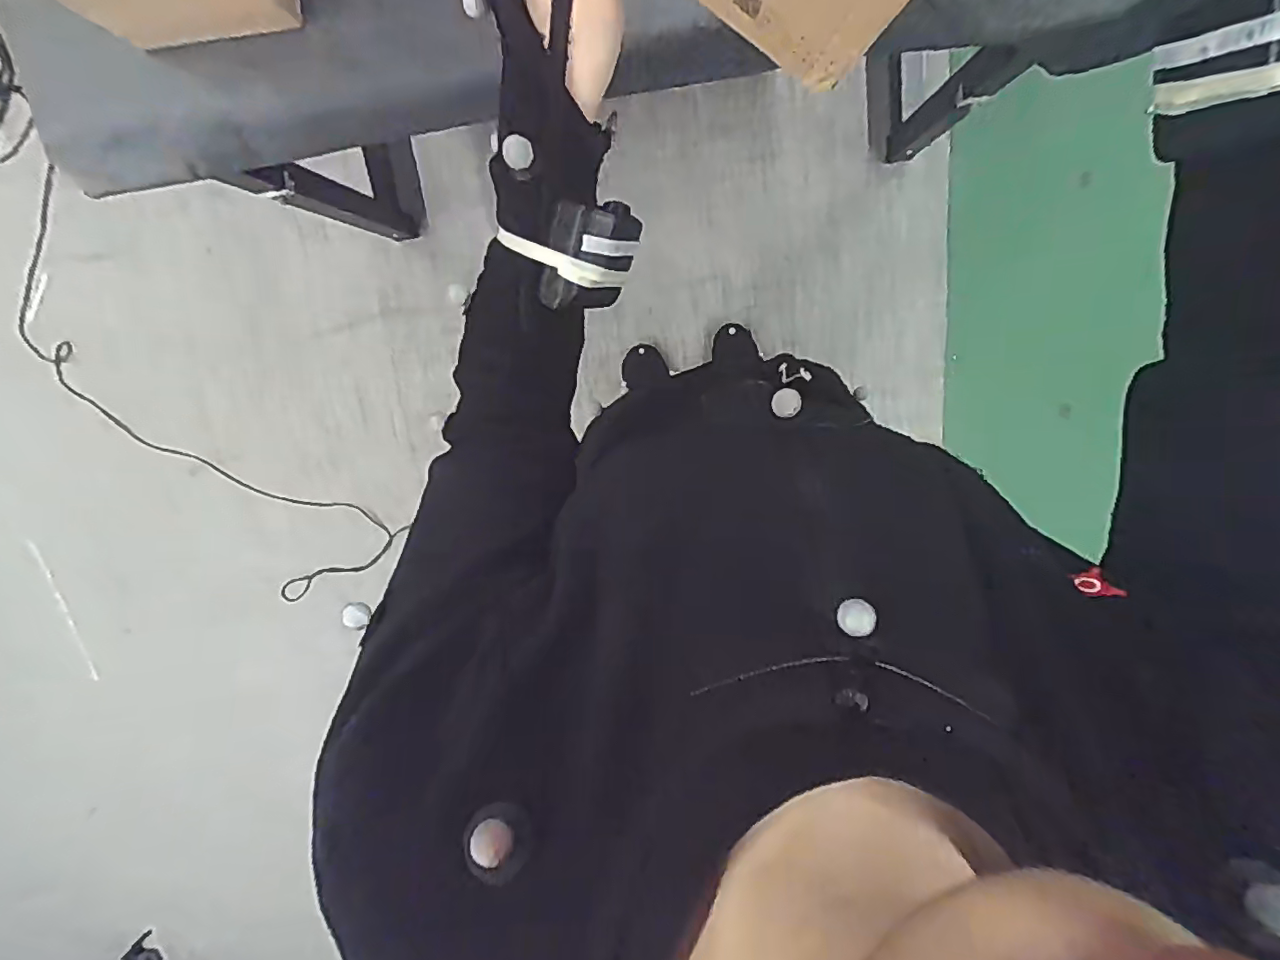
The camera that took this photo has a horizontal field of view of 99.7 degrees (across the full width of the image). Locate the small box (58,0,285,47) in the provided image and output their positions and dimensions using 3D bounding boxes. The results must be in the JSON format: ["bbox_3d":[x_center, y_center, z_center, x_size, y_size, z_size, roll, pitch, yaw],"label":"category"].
[{"bbox_3d":[-0.429,-0.499,0.442,0.179,0.176,0.168,-4,102,4],"label":"small box"}]

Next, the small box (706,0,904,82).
[{"bbox_3d":[0.087,-0.309,0.197,0.168,0.176,0.179,32,101,-10],"label":"small box"}]
